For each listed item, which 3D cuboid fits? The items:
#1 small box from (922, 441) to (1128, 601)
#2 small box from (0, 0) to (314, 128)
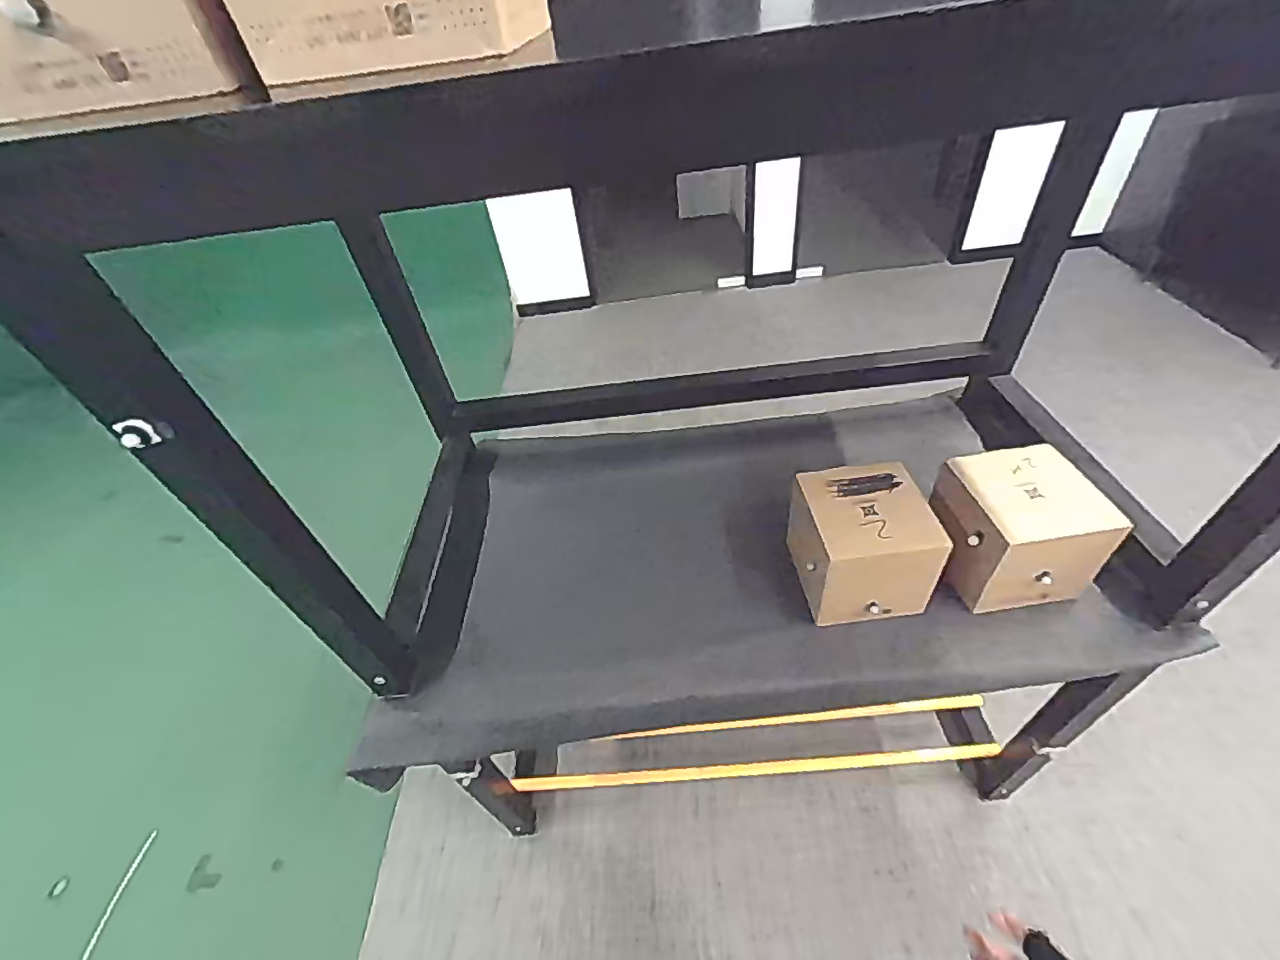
[{"bbox_3d":[0.566,0.069,0.826,0.168,0.176,0.179,-9,43,0],"label":"small box"},{"bbox_3d":[-0.356,-0.353,0.359,0.168,0.176,0.179,-7,45,2],"label":"small box"}]
